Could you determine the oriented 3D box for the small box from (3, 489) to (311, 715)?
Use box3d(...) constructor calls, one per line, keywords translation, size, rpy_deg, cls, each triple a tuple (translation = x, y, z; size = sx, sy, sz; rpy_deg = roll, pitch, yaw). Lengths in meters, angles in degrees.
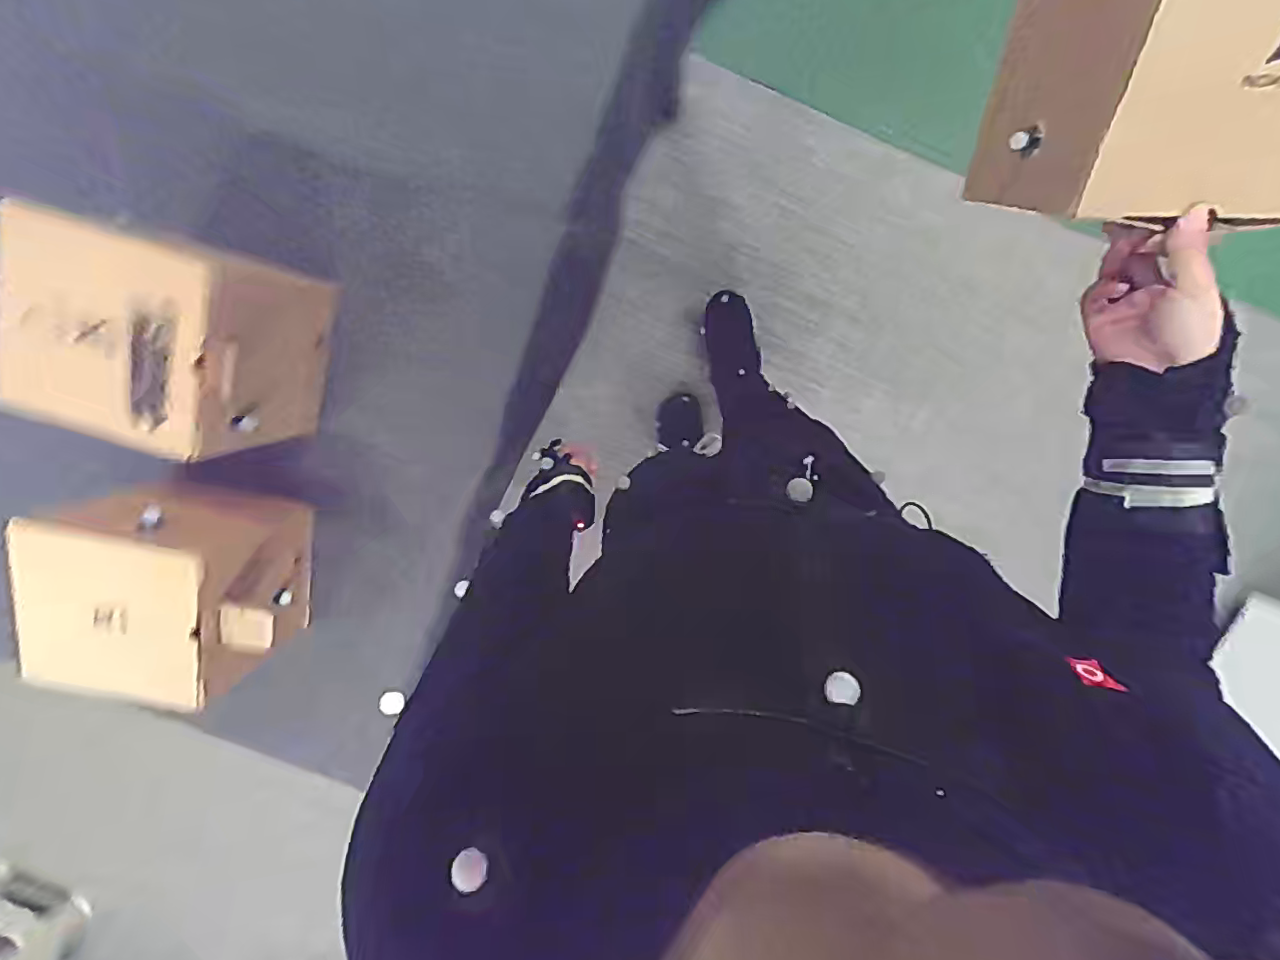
box3d(translation=(-0.491, 0.115, 0.575), size=(0.179, 0.176, 0.168), rpy_deg=(10, 104, -1), cls="small box")
